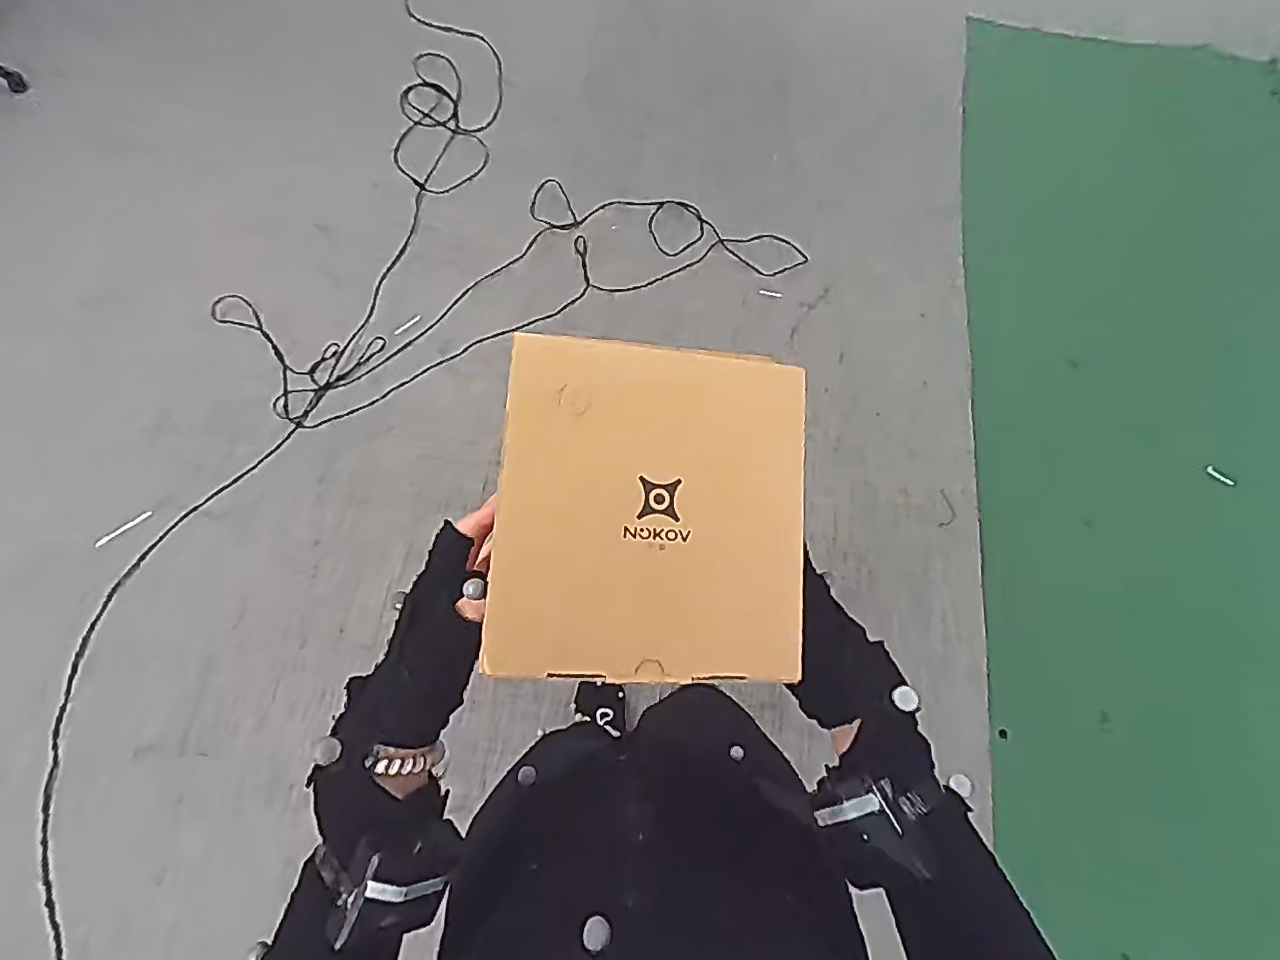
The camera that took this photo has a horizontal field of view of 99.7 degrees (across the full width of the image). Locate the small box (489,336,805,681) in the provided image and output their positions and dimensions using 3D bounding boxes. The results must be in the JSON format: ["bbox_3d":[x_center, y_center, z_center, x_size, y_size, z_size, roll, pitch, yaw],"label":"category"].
[{"bbox_3d":[-0.005,0.025,0.364,0.168,0.176,0.179,4,83,-10],"label":"small box"}]
